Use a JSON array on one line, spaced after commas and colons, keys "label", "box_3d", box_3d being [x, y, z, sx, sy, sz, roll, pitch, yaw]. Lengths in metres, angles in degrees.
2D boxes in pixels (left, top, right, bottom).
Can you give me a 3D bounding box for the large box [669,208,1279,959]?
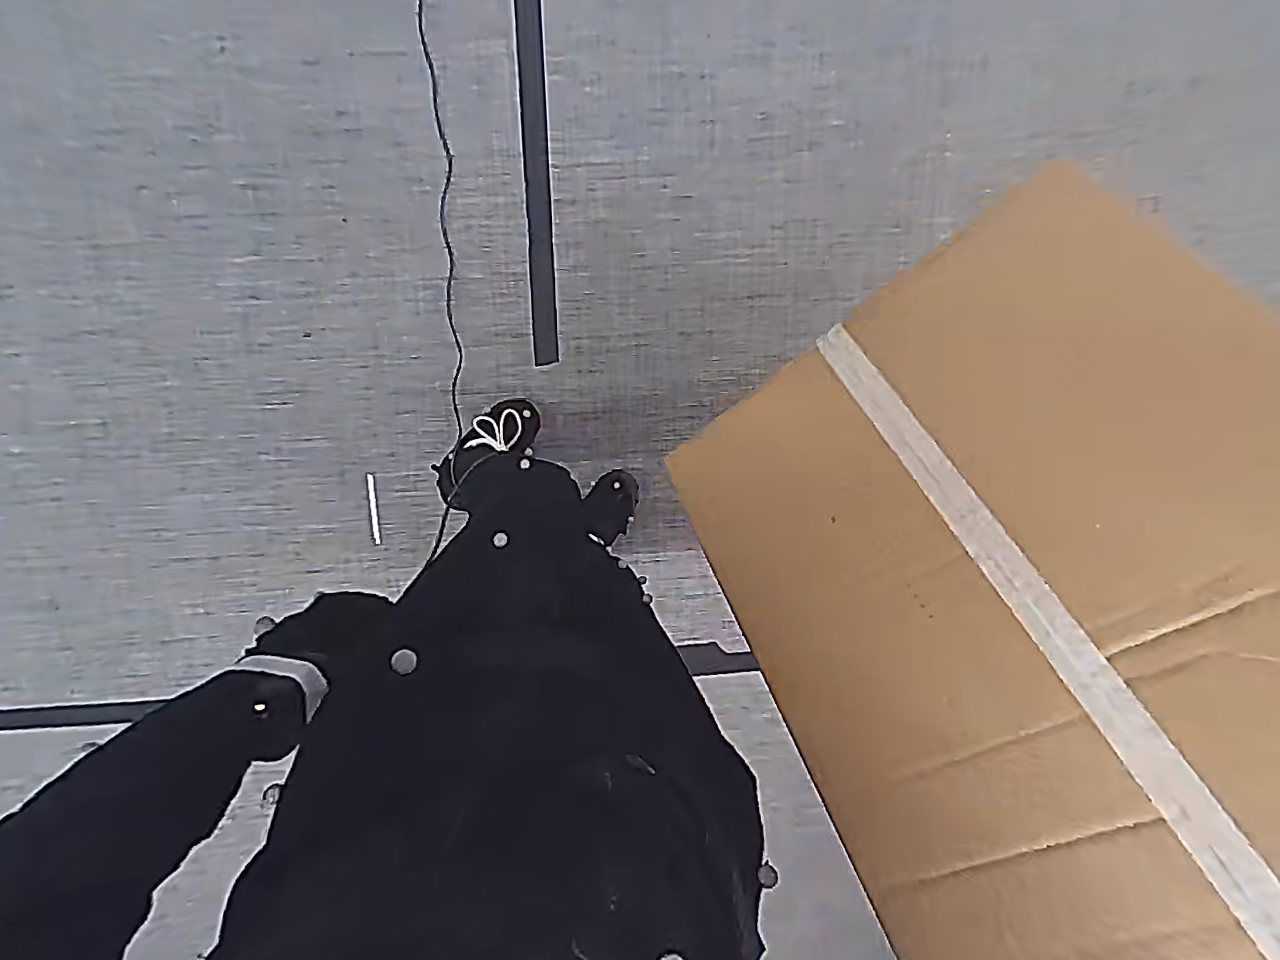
[{"label": "large box", "box_3d": [0.290, 0.100, 0.417, 0.320, 0.320, 0.408, -37, 60, 25]}]
